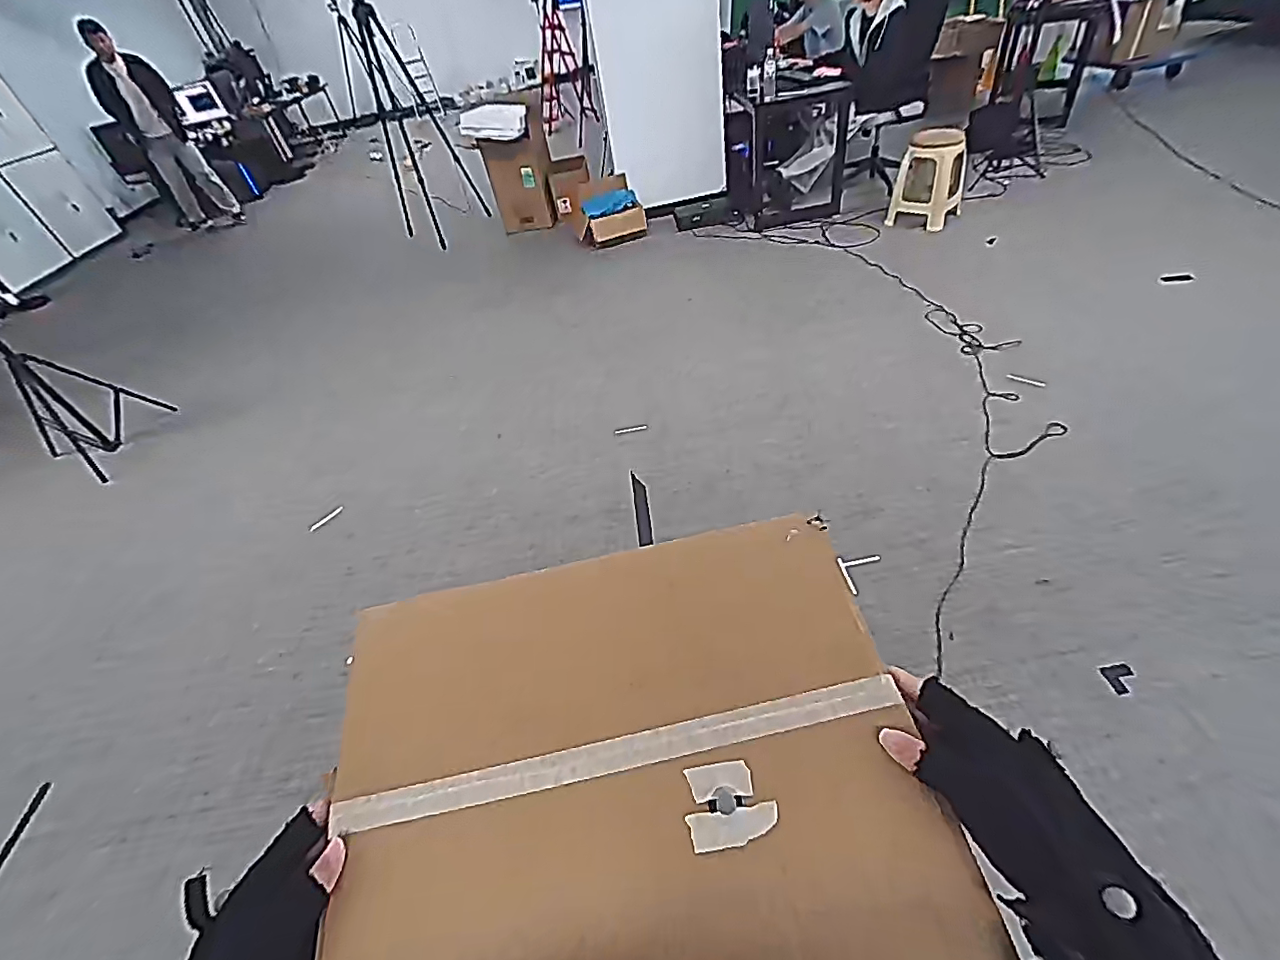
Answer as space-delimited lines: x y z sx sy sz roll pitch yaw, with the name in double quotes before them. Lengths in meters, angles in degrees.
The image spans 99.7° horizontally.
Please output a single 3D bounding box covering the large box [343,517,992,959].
"large box" 0.003 0.282 0.518 0.408 0.320 0.320 -12 55 -2
